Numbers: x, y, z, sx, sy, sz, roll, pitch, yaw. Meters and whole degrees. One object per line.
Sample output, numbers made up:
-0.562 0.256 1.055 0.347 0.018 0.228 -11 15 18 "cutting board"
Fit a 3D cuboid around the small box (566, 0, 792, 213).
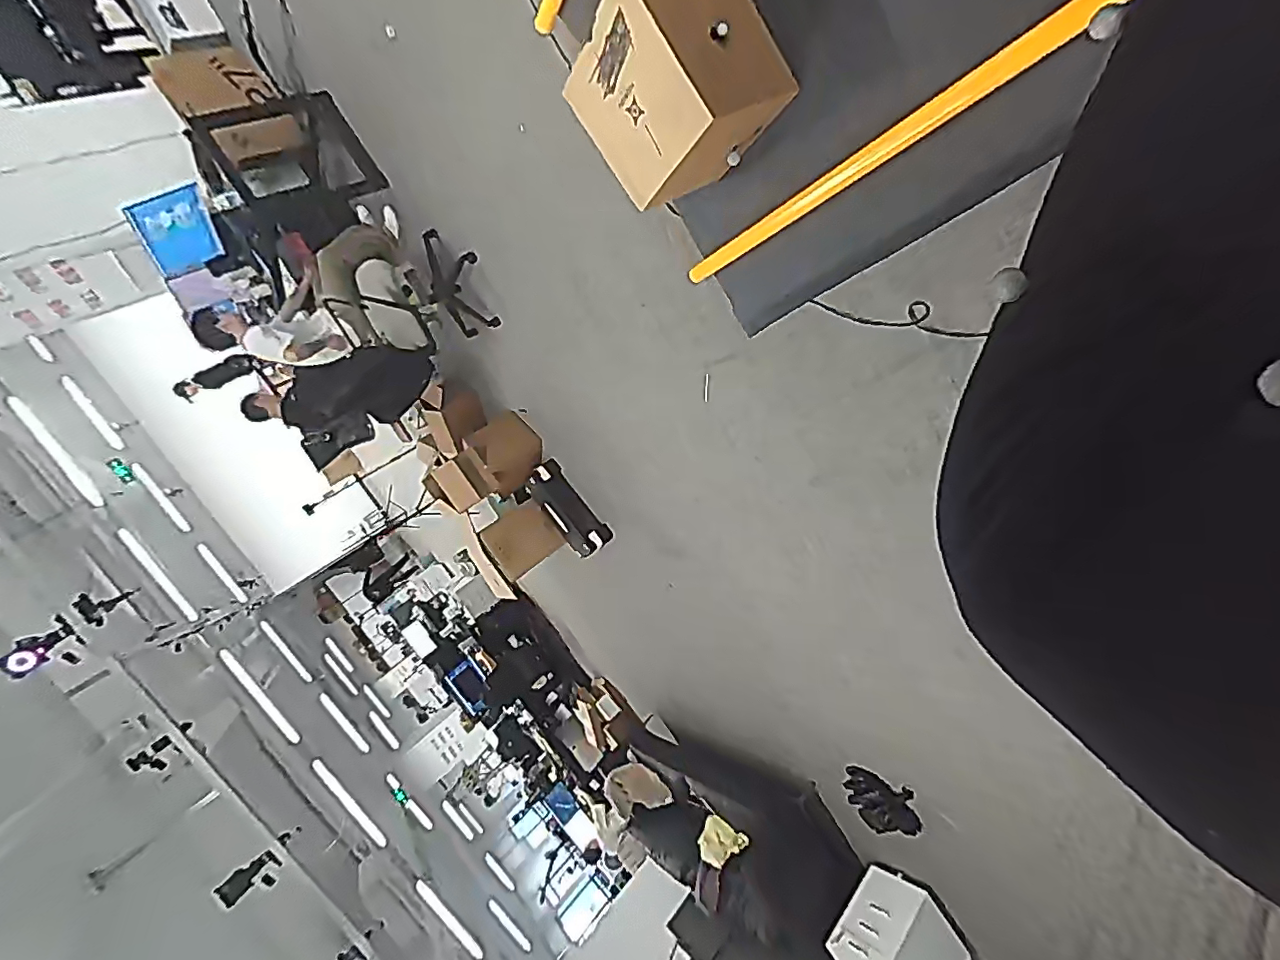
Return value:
0.047 -0.471 0.660 0.179 0.176 0.168 56 151 -8 "small box"
